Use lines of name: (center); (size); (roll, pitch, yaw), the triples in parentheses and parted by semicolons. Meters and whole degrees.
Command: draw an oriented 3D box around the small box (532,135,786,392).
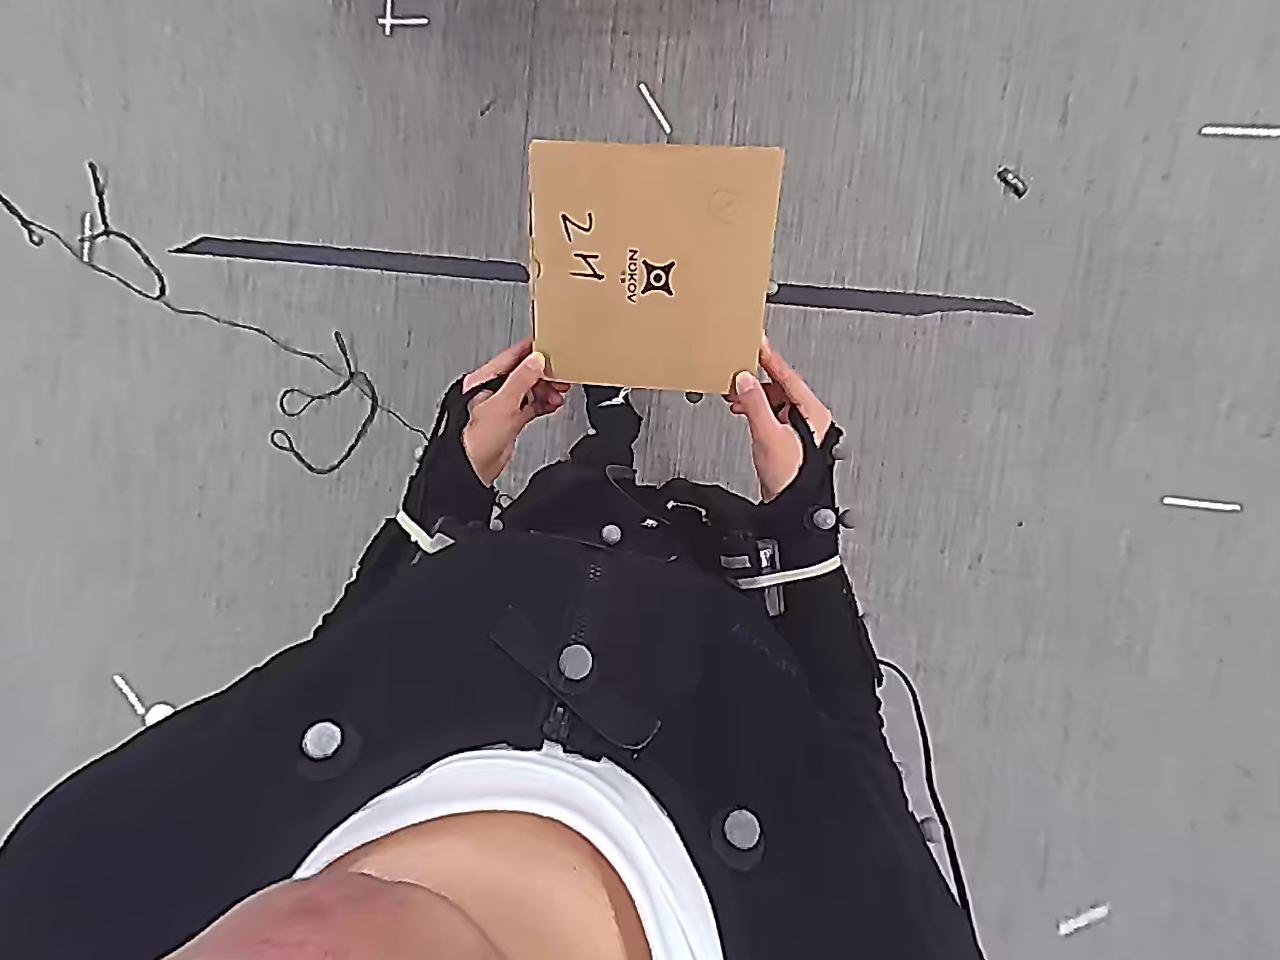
small box: (0.015, -0.180, 0.466); (0.179, 0.176, 0.168); (6, 111, 6)
